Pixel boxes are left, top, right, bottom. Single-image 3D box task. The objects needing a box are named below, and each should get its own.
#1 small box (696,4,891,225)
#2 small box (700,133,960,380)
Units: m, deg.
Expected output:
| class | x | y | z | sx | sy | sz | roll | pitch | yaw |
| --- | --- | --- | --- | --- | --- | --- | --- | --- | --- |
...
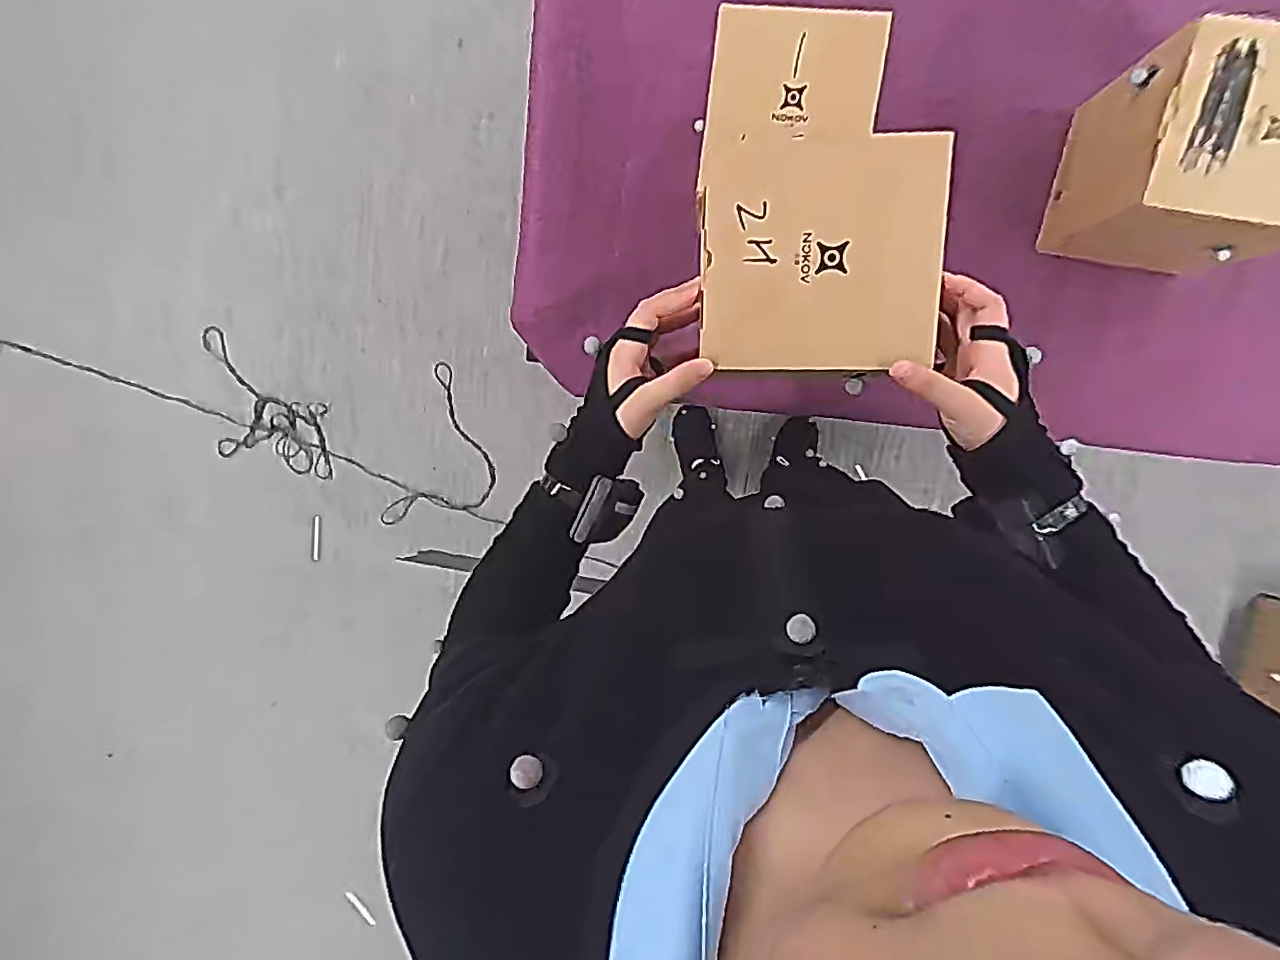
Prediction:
| class | x | y | z | sx | sy | sz | roll | pitch | yaw |
| --- | --- | --- | --- | --- | --- | --- | --- | --- | --- |
| small box | 0.158 | -0.381 | 0.611 | 0.168 | 0.176 | 0.179 | 8 | 100 | 5 |
| small box | 0.144 | -0.177 | 0.475 | 0.179 | 0.176 | 0.168 | 2 | 98 | 7 |
